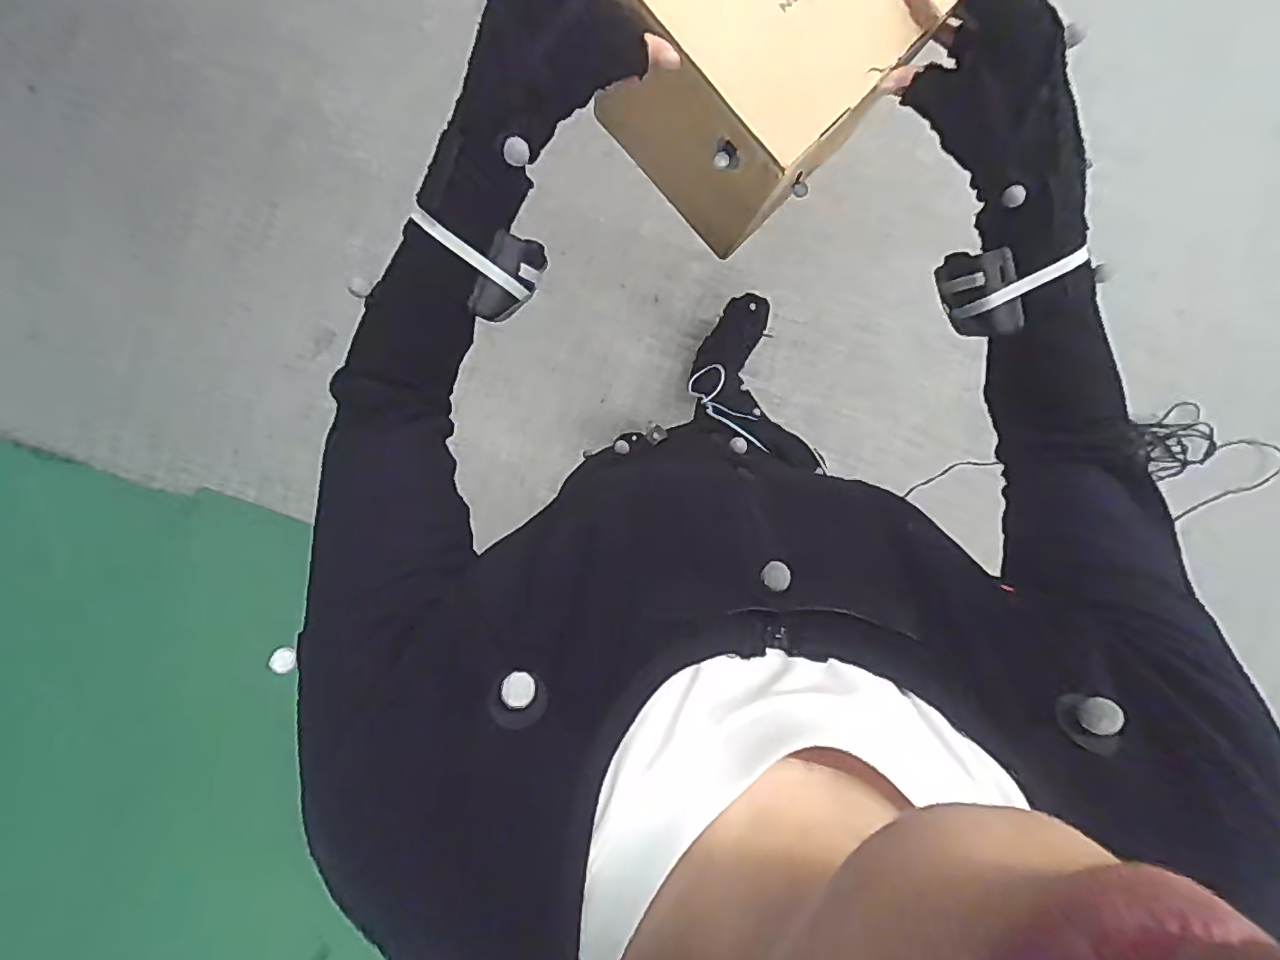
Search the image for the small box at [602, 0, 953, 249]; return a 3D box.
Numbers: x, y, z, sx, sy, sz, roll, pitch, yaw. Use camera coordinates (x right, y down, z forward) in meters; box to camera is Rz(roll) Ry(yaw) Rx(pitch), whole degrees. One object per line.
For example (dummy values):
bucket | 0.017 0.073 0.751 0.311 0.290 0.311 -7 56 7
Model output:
small box | 0.083 -0.320 0.423 0.168 0.176 0.179 -44 97 -1
